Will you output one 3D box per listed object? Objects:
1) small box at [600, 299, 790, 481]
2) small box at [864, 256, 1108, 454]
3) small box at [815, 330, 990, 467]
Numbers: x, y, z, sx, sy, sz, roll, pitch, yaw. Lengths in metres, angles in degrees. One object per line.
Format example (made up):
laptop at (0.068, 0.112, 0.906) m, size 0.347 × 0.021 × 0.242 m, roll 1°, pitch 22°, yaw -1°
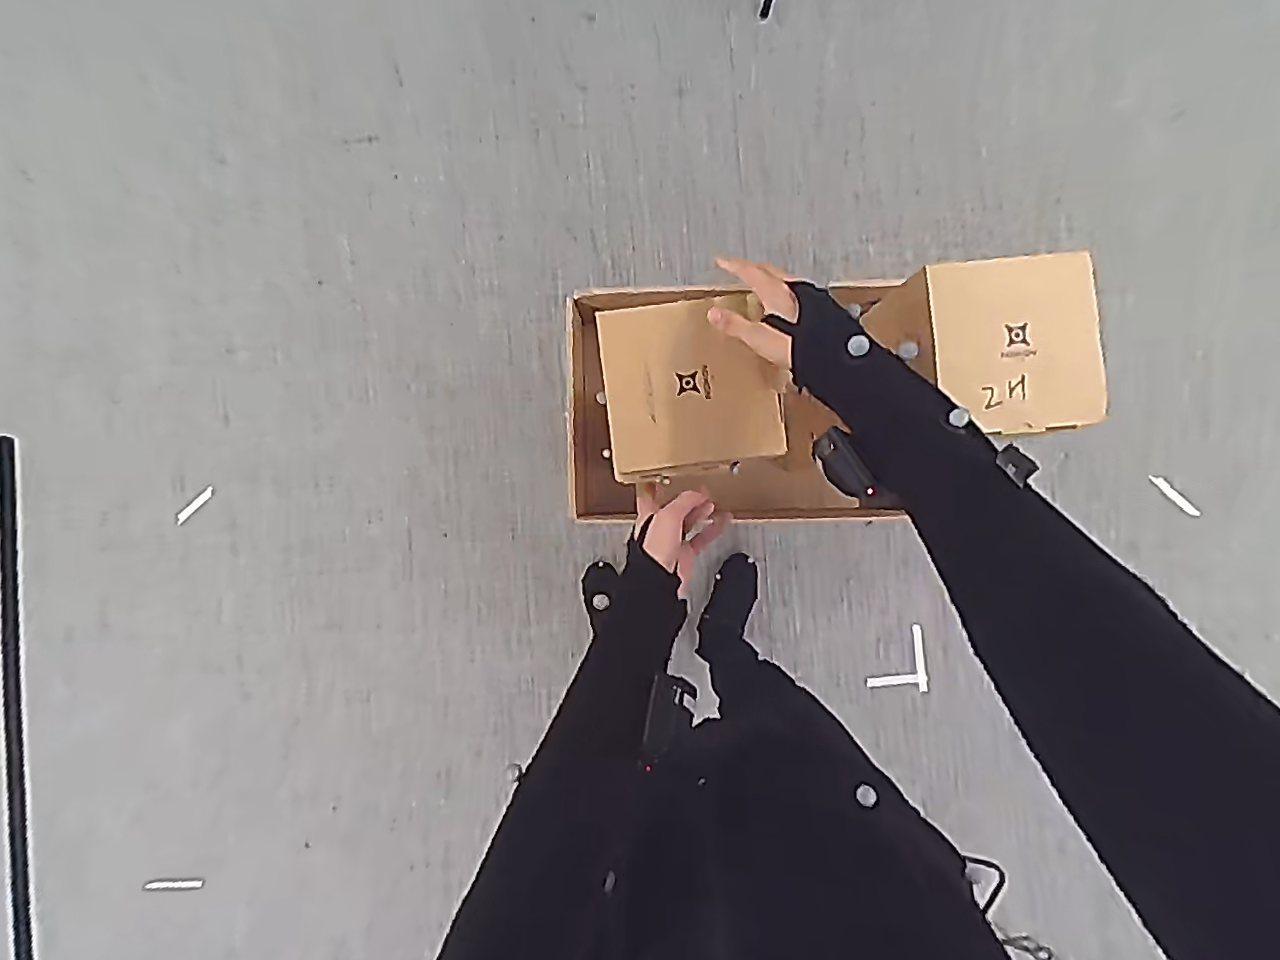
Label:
small box at (0.053, -0.089, 0.613) m, size 0.179 × 0.176 × 0.168 m, roll -7°, pitch 89°, yaw 0°
small box at (0.367, -0.127, 0.607) m, size 0.168 × 0.176 × 0.179 m, roll -5°, pitch 90°, yaw 0°
small box at (0.361, -0.110, 0.771) m, size 0.168 × 0.176 × 0.179 m, roll -4°, pitch 88°, yaw 0°
